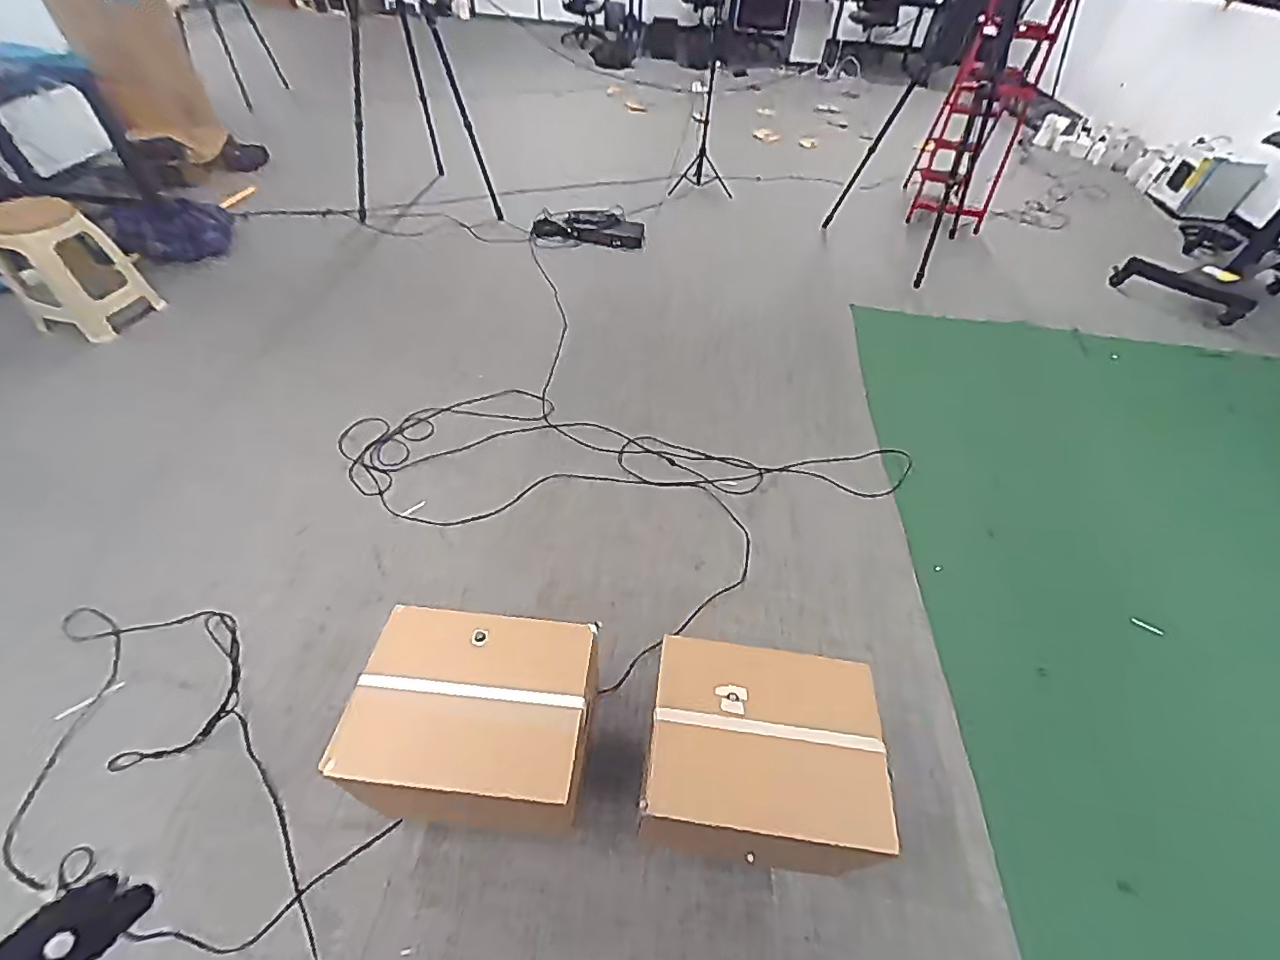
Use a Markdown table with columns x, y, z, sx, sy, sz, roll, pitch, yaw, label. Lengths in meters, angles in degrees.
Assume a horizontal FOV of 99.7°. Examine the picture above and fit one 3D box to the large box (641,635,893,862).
| x | y | z | sx | sy | sz | roll | pitch | yaw | label |
| --- | --- | --- | --- | --- | --- | --- | --- | --- | --- |
| 0.223 | 0.541 | 1.080 | 0.408 | 0.320 | 0.320 | 7 | 48 | 3 | large box |
